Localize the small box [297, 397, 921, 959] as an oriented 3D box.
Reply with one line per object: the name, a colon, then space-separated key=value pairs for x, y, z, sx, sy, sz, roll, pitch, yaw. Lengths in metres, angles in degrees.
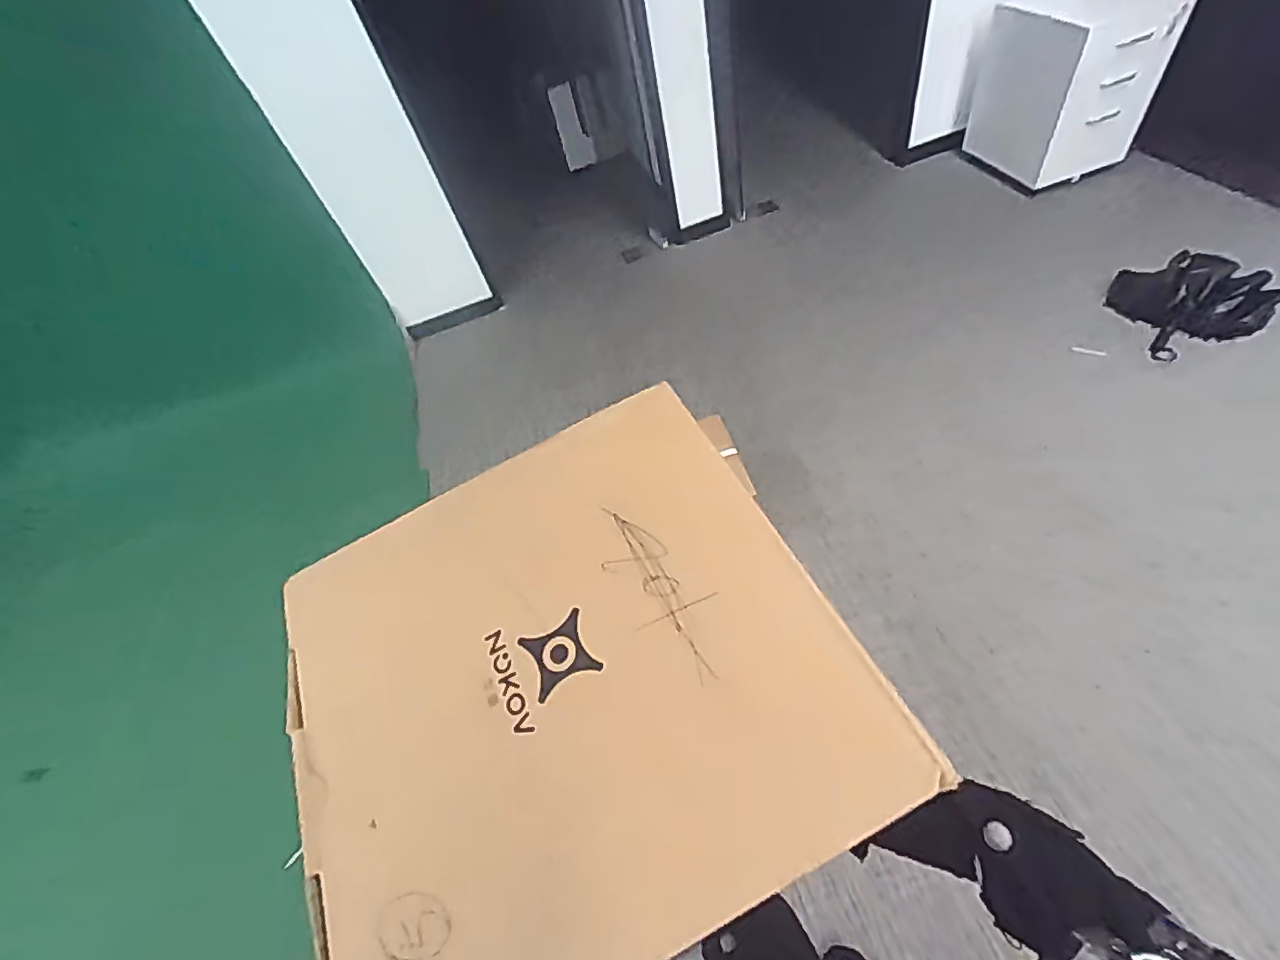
small box: x=-0.014 y=0.102 z=0.253 sx=0.179 sy=0.176 sz=0.168 roll=-28 pitch=59 yaw=-6
